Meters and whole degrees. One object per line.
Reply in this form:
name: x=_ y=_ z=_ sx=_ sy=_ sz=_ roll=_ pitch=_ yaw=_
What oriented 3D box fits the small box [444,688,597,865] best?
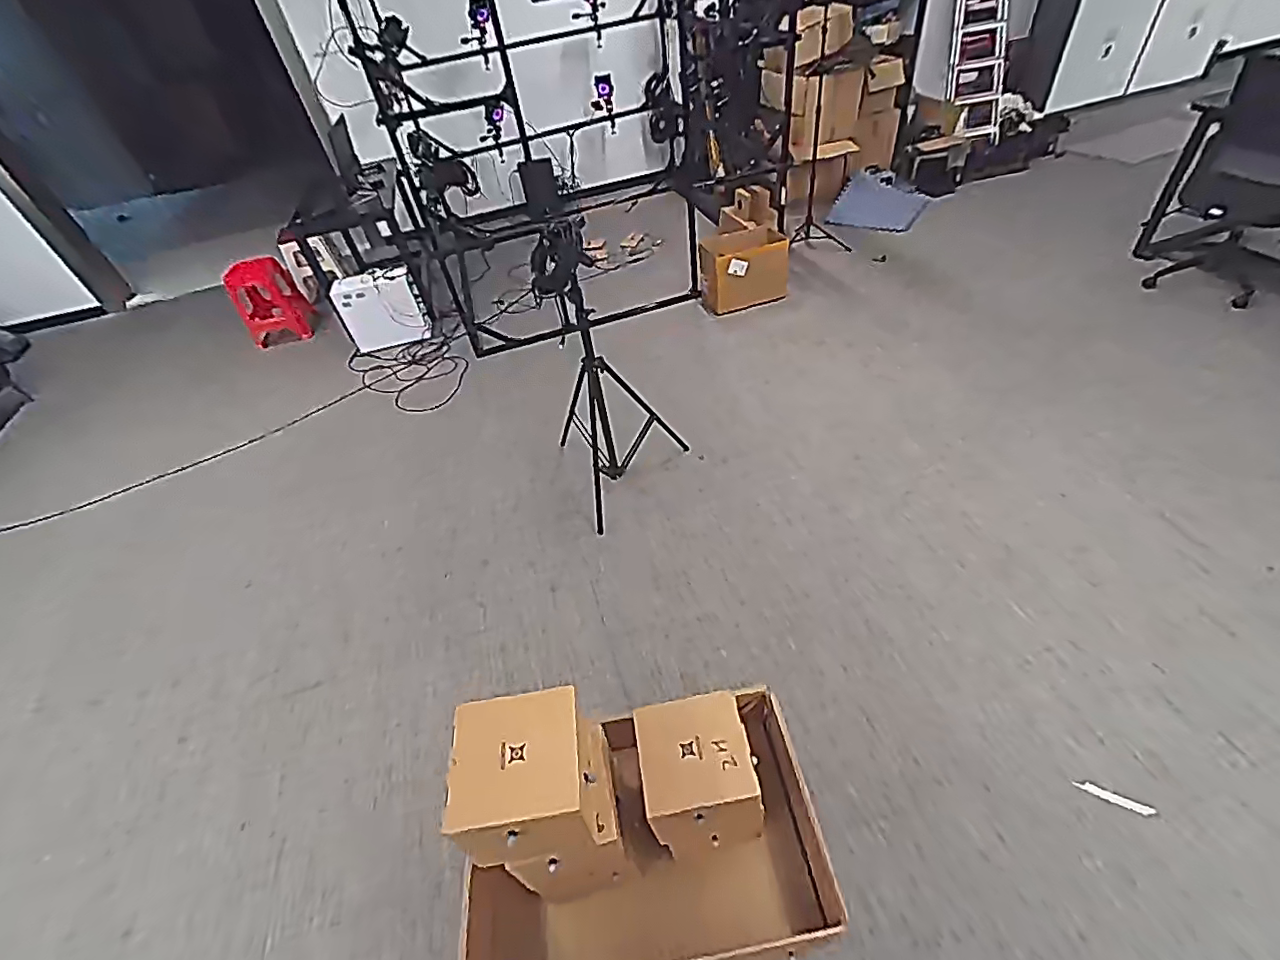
small box: x=-0.159 y=0.426 z=0.776 sx=0.179 sy=0.176 sz=0.168 roll=-10 pitch=43 yaw=-2
